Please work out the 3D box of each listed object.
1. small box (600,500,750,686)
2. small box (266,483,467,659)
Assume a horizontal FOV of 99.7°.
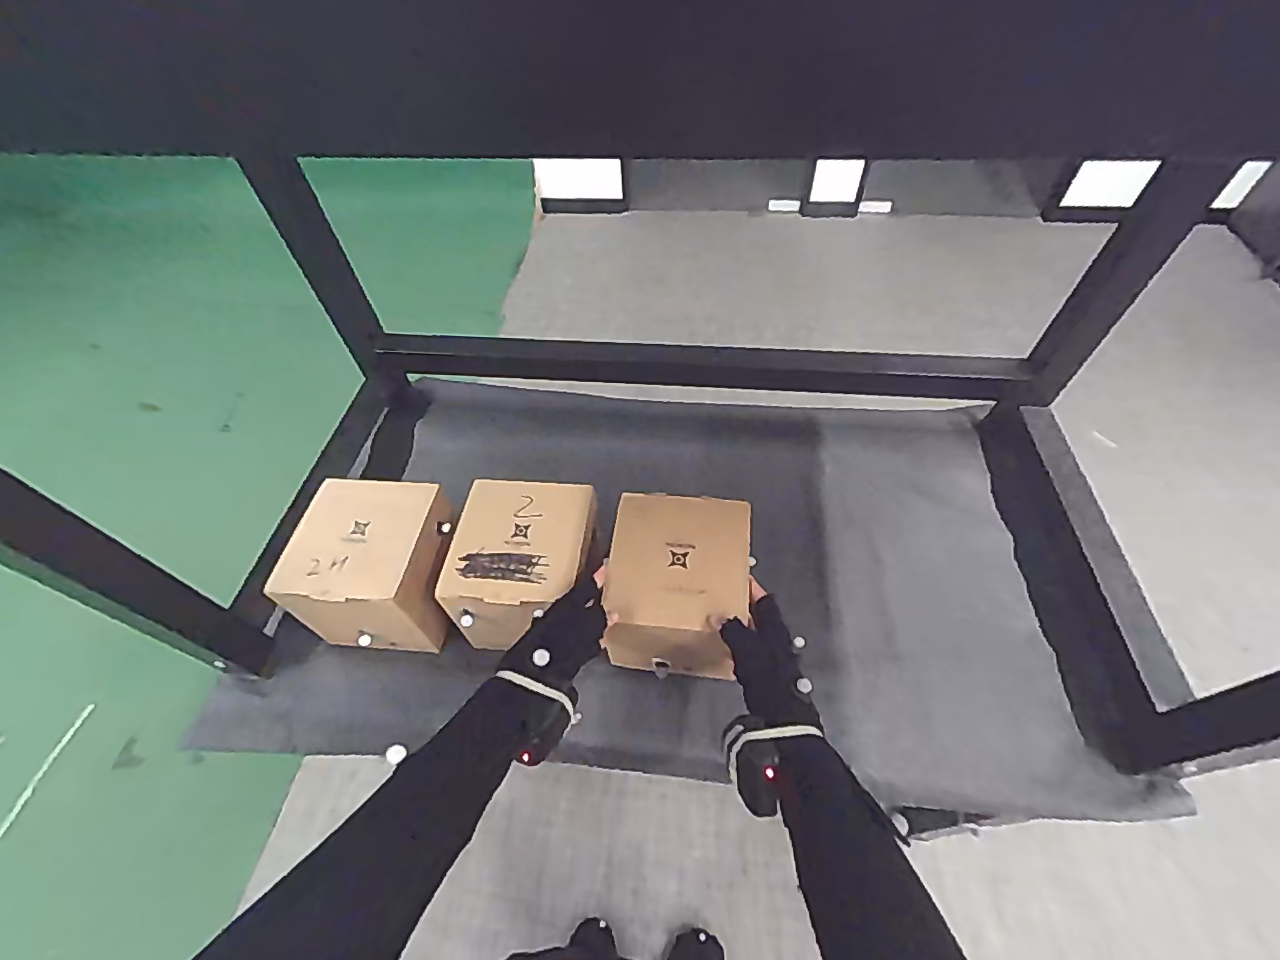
[{"bbox_3d":[0.050,0.147,0.699,0.168,0.176,0.179,3,54,7],"label":"small box"},{"bbox_3d":[-0.355,0.126,0.748,0.168,0.176,0.179,3,52,5],"label":"small box"}]
